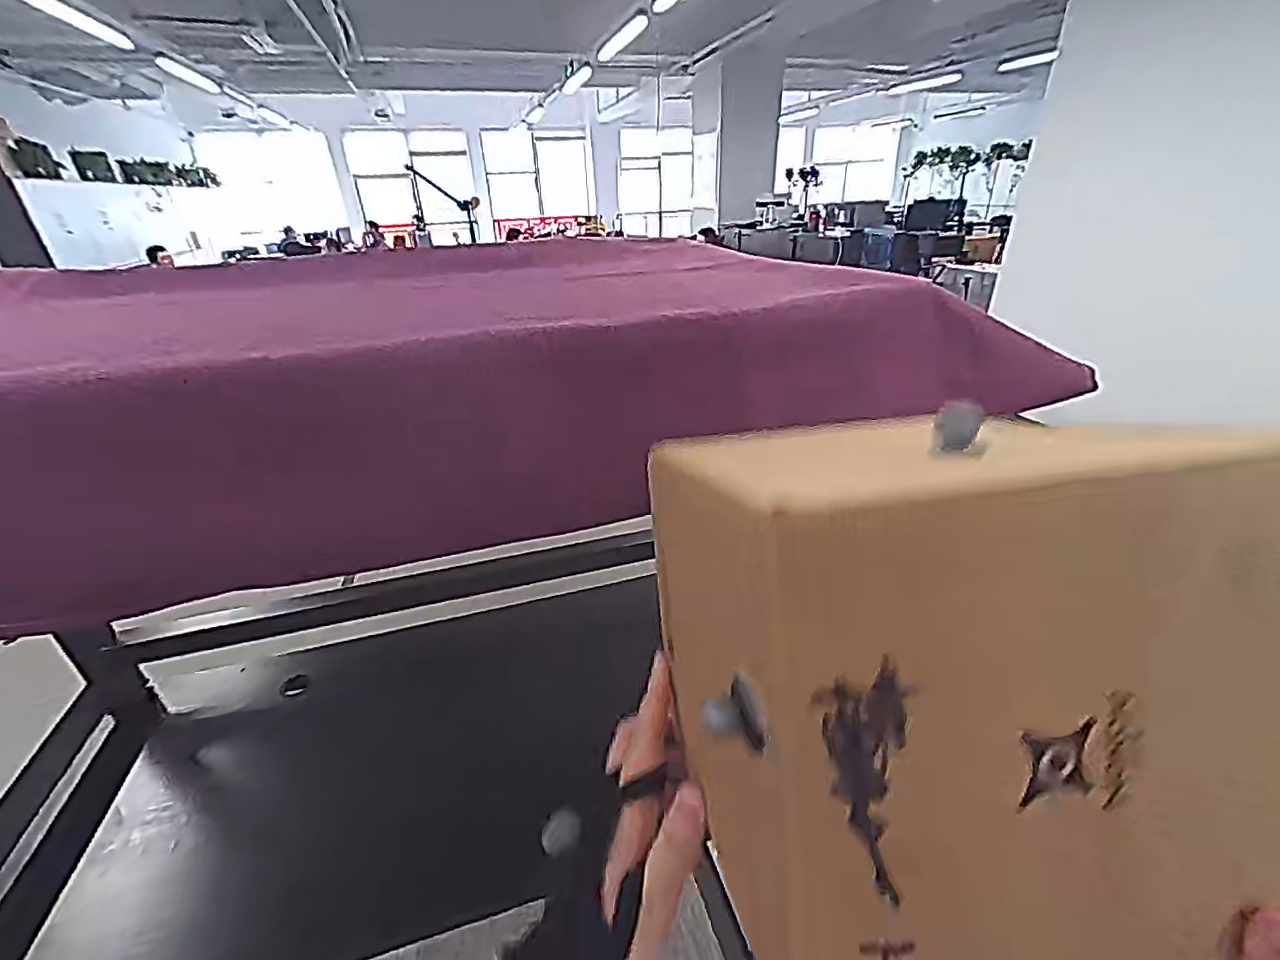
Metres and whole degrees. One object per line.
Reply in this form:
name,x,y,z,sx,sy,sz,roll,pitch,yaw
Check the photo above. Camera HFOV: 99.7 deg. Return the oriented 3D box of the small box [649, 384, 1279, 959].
small box,0.110,0.049,0.223,0.179,0.168,0.176,-7,9,-9
